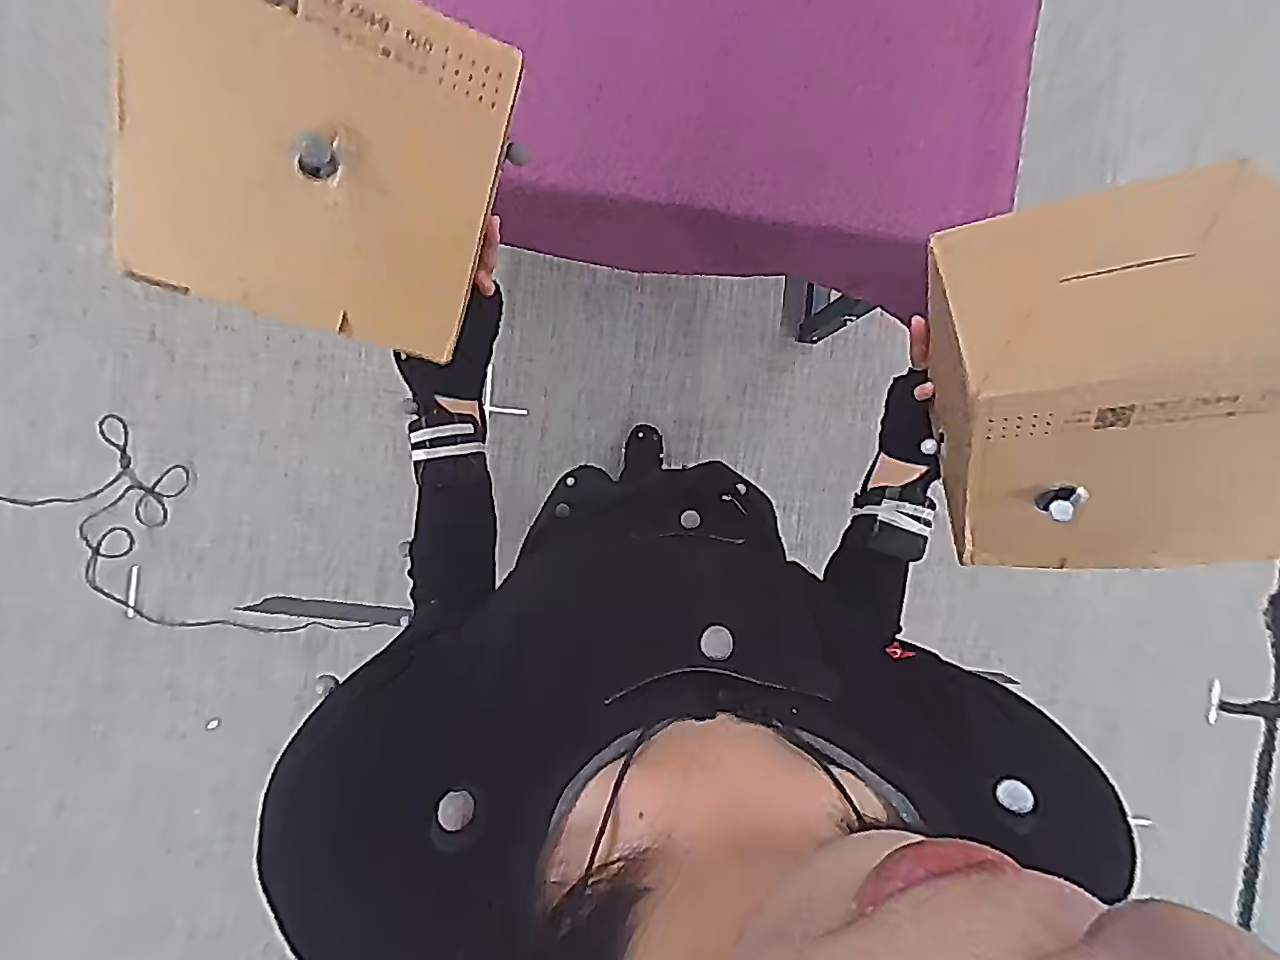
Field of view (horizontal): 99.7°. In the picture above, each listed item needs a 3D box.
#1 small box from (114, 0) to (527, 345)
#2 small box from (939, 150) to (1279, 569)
[{"bbox_3d":[-0.173,-0.203,0.331,0.168,0.179,0.176,14,112,-21],"label":"small box"},{"bbox_3d":[0.290,-0.064,0.332,0.168,0.176,0.179,-4,48,23],"label":"small box"}]
